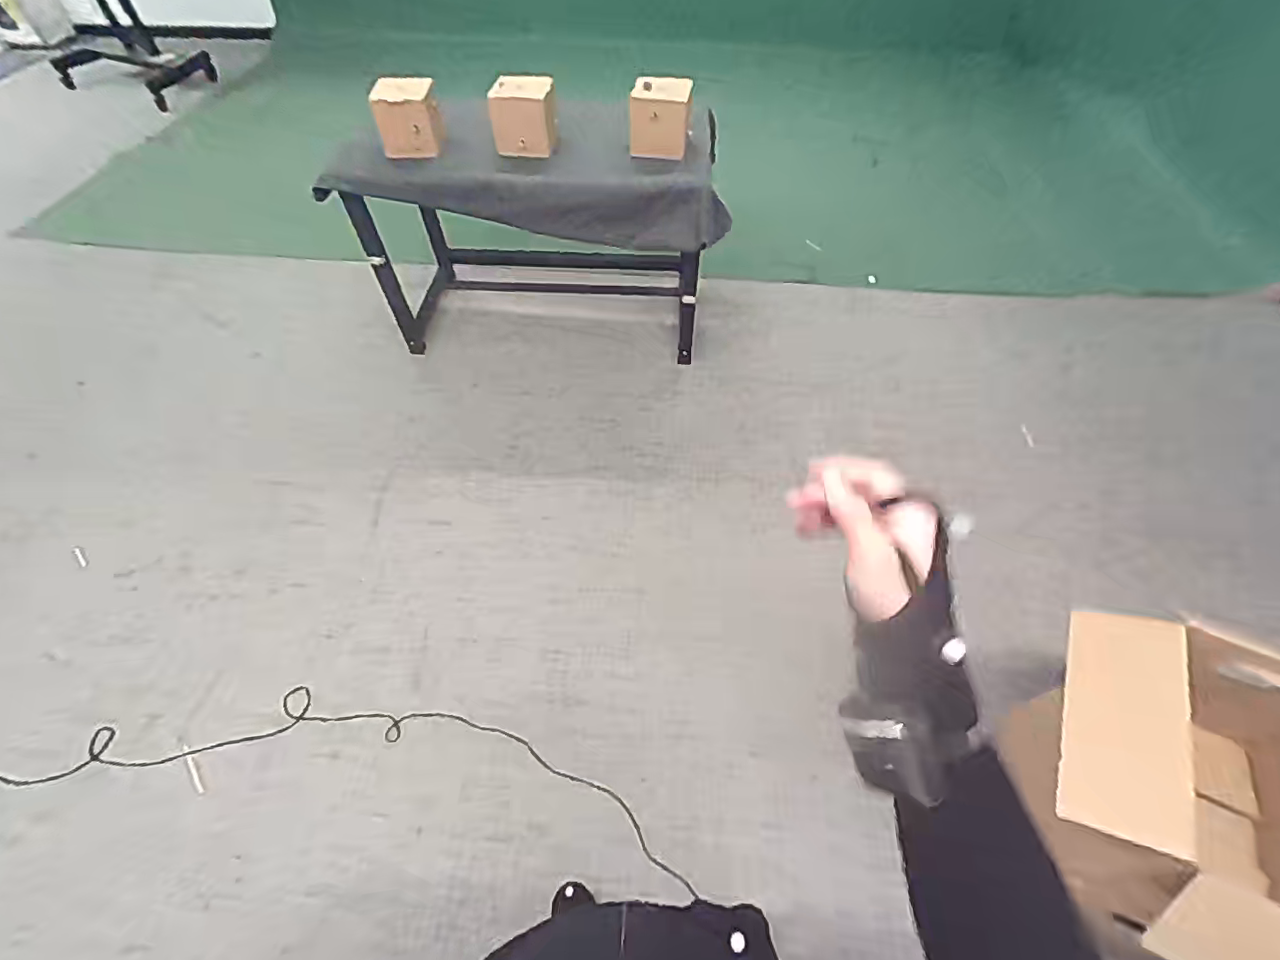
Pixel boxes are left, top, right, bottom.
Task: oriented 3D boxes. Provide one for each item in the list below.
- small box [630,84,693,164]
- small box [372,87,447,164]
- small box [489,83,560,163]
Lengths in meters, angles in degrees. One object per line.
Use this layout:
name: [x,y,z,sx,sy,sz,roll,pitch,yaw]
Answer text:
small box: [0.069,-1.136,1.729,0.179,0.176,0.168,9,55,6]
small box: [-0.732,-1.140,1.741,0.168,0.176,0.179,-2,52,-4]
small box: [-0.363,-1.147,1.743,0.179,0.176,0.168,6,54,4]
